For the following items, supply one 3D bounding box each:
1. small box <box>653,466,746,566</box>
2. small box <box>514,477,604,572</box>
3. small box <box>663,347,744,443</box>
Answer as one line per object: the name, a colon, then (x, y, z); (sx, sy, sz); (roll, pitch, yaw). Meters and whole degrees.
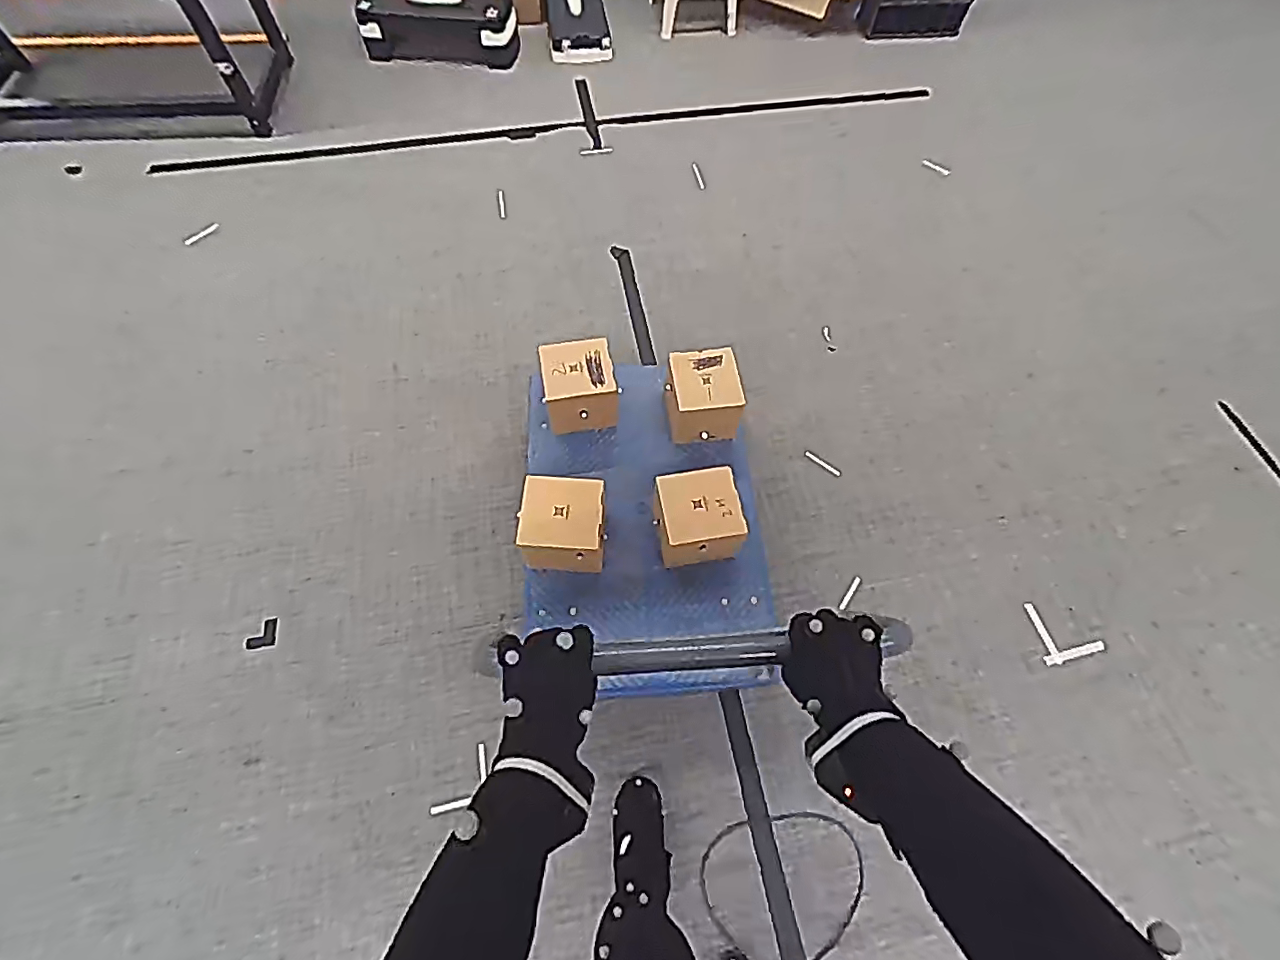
small box: (0.128, 0.088, 1.247); (0.179, 0.176, 0.168); (-9, 65, -6)
small box: (-0.176, 0.105, 1.230); (0.179, 0.176, 0.168); (3, 64, -2)
small box: (0.155, -0.216, 1.391); (0.168, 0.176, 0.179); (-7, 66, -5)
